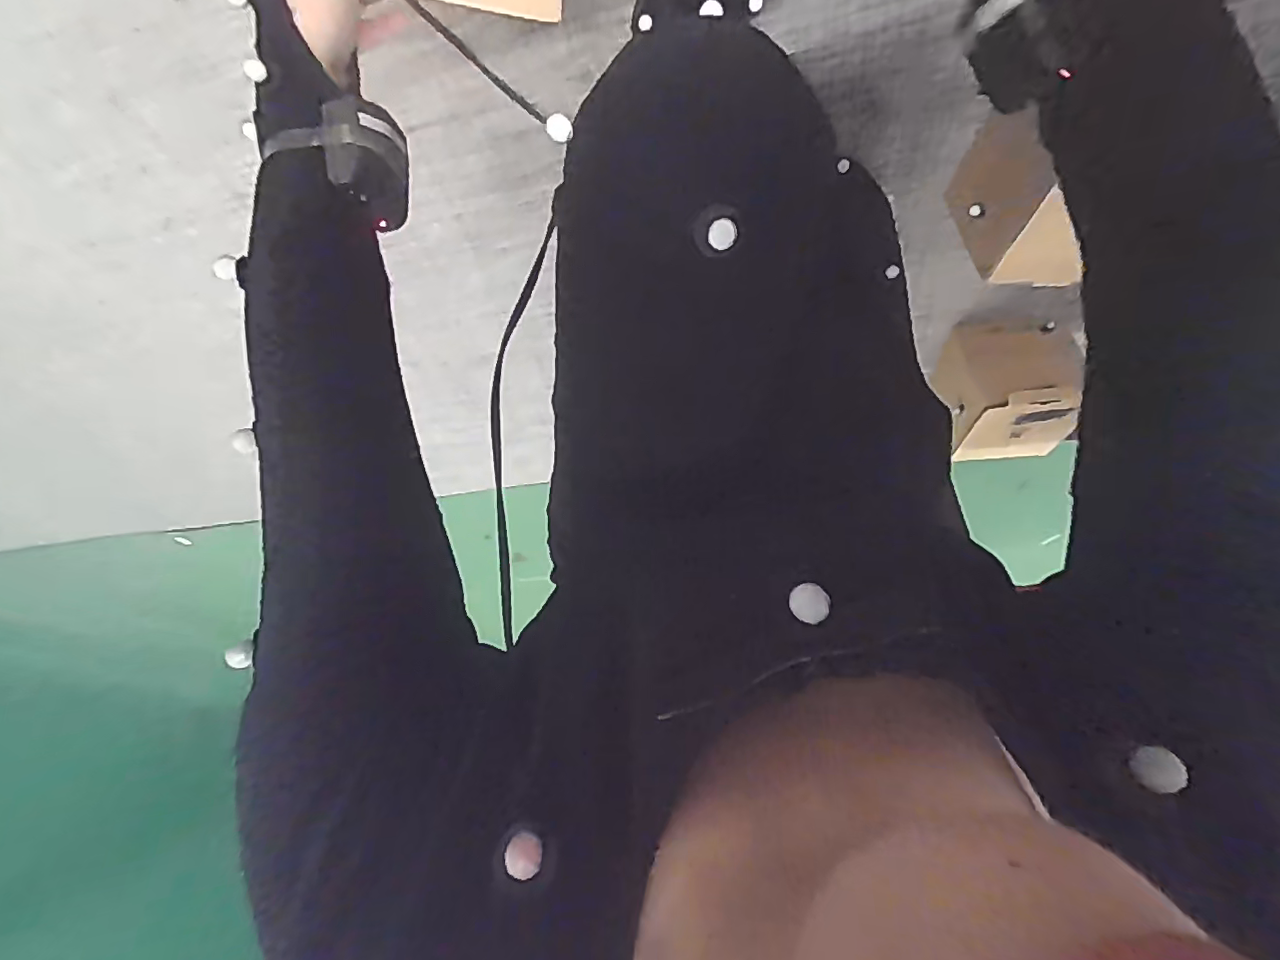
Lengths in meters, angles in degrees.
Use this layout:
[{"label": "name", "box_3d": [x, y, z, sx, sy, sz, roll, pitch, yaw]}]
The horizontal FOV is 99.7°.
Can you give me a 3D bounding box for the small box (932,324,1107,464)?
[{"label": "small box", "box_3d": [0.621, -0.147, 0.916, 0.168, 0.176, 0.179, -4, 150, 8]}]
